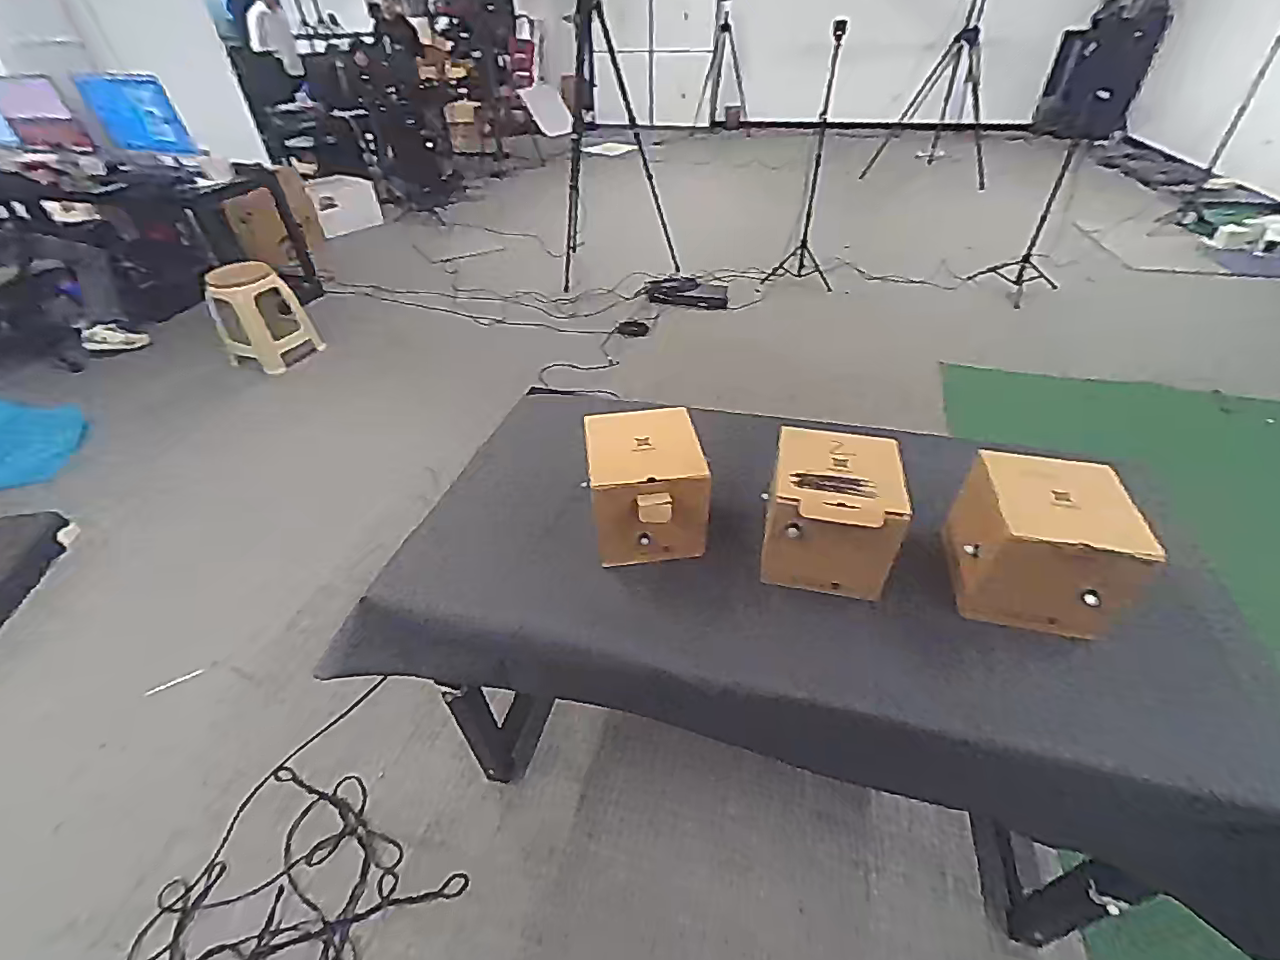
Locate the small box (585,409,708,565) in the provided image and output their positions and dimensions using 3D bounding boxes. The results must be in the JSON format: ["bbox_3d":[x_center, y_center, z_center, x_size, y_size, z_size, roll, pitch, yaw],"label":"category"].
[{"bbox_3d":[0.003,0.009,0.849,0.168,0.176,0.179,-6,41,-6],"label":"small box"}]

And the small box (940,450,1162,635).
[{"bbox_3d":[0.536,0.085,0.740,0.168,0.176,0.179,9,41,11],"label":"small box"}]
